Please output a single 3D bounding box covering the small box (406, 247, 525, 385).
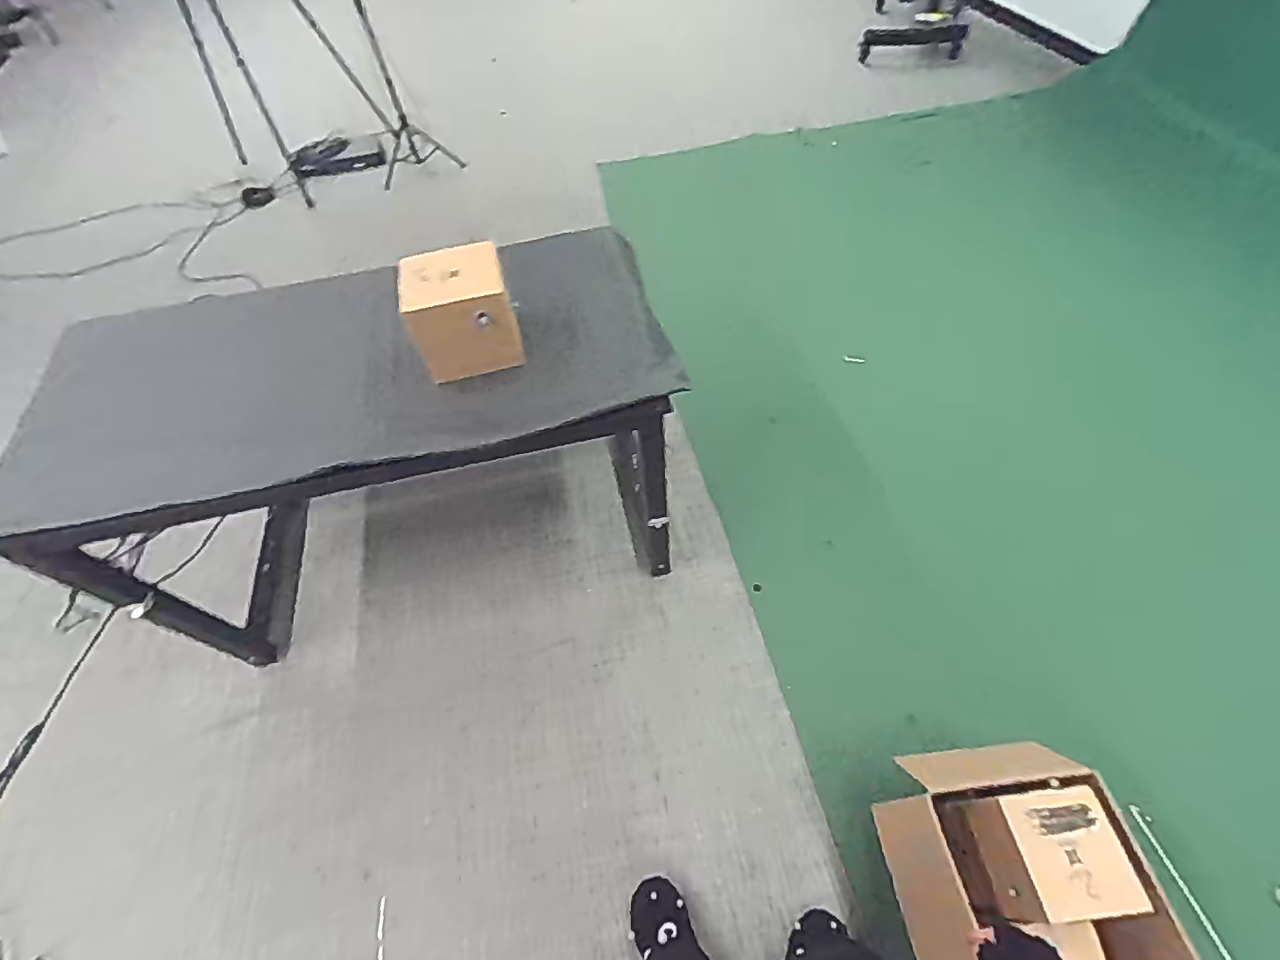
[{"bbox_3d":[-0.322,-0.306,1.022,0.179,0.176,0.168,-14,55,-5],"label":"small box"}]
